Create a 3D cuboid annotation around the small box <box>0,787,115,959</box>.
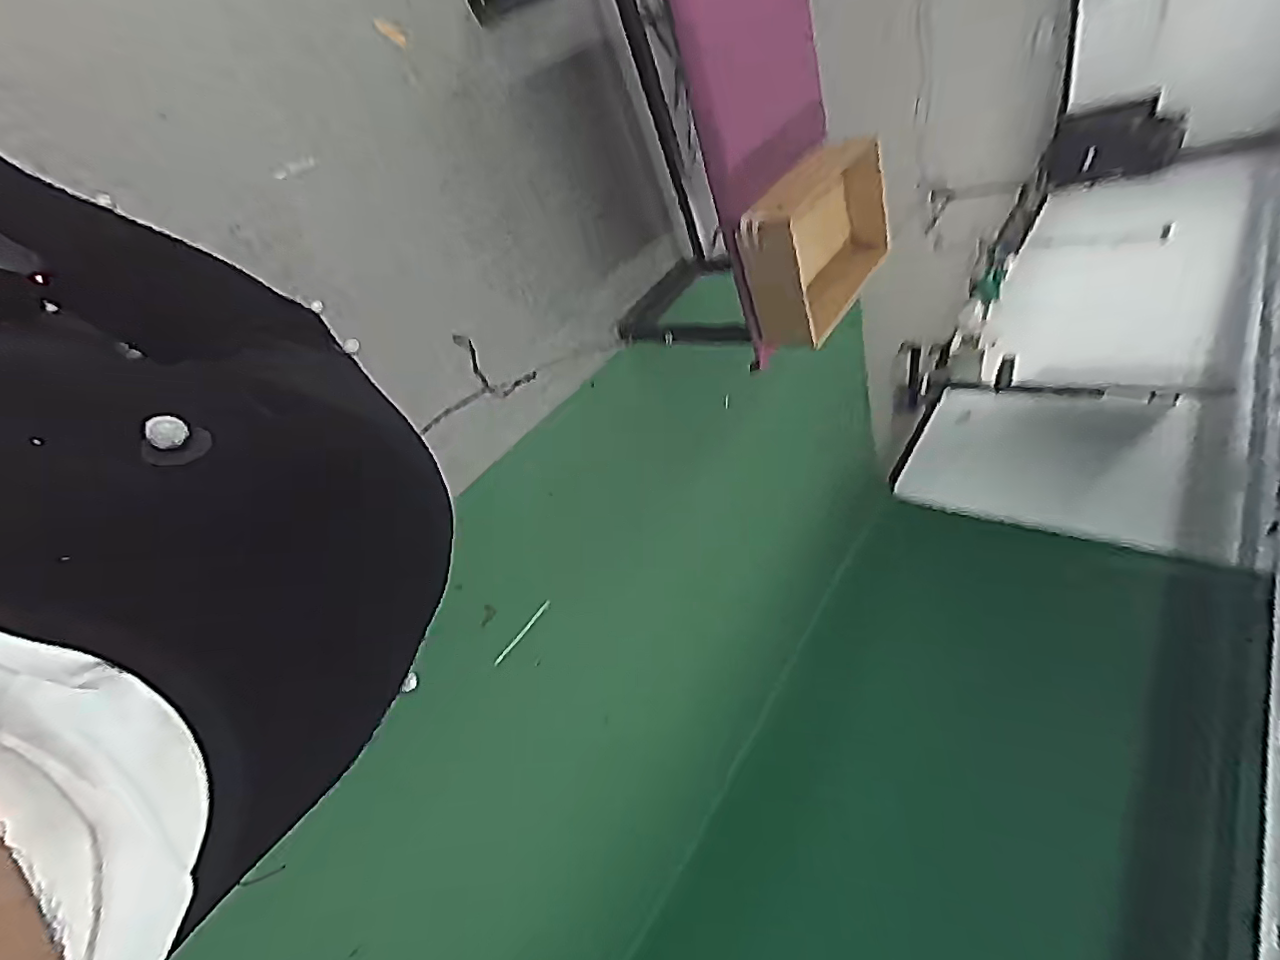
[{"bbox_3d":[-0.817,0.526,0.682,0.179,0.176,0.168,20,86,-51],"label":"small box"}]
